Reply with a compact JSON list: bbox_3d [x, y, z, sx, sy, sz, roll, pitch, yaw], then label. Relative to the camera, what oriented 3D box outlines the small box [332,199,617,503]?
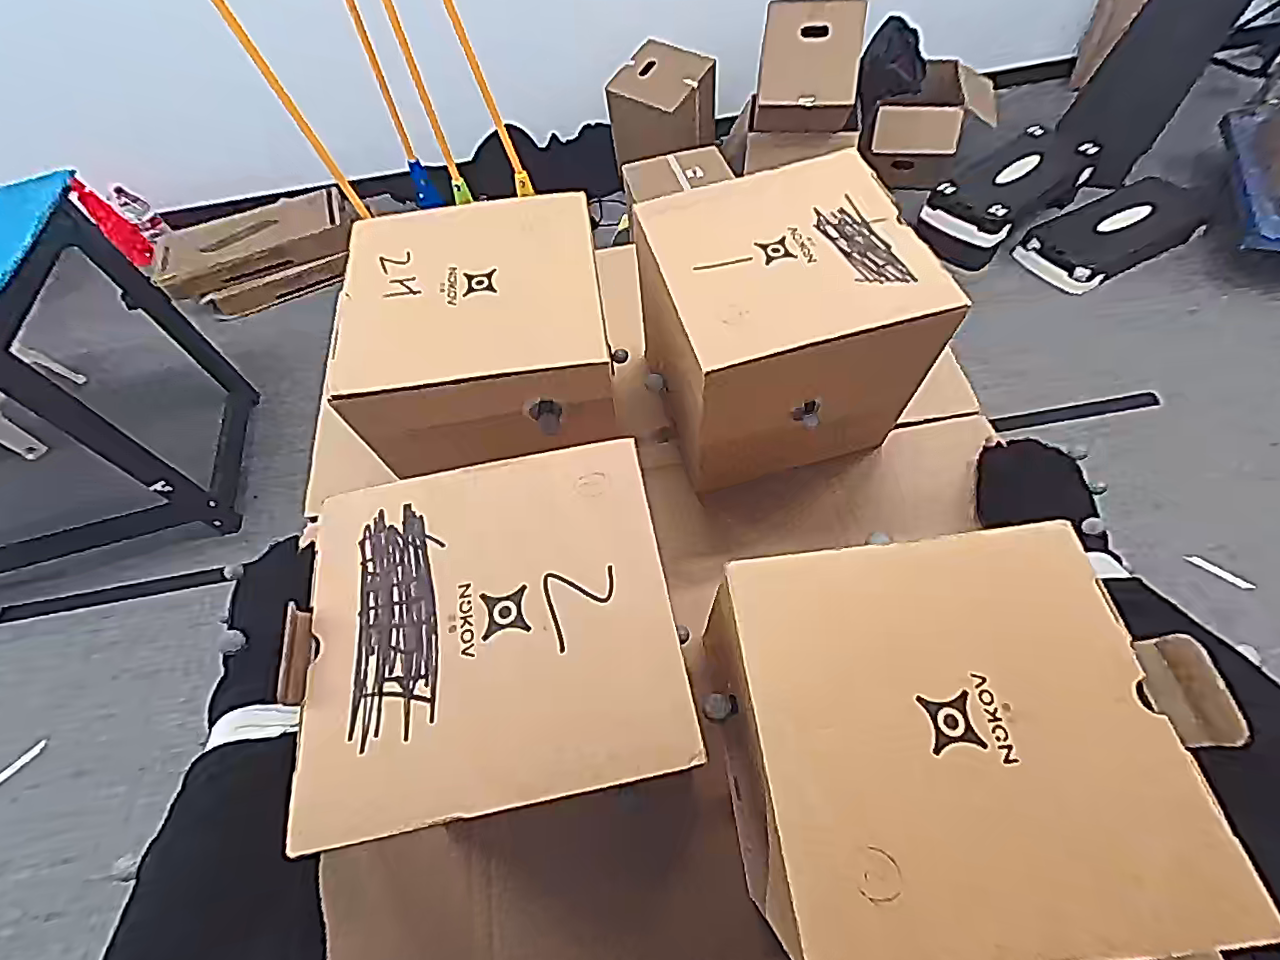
[{"bbox_3d":[-0.115,-0.095,0.449,0.179,0.176,0.168,-8,62,0],"label":"small box"}]
